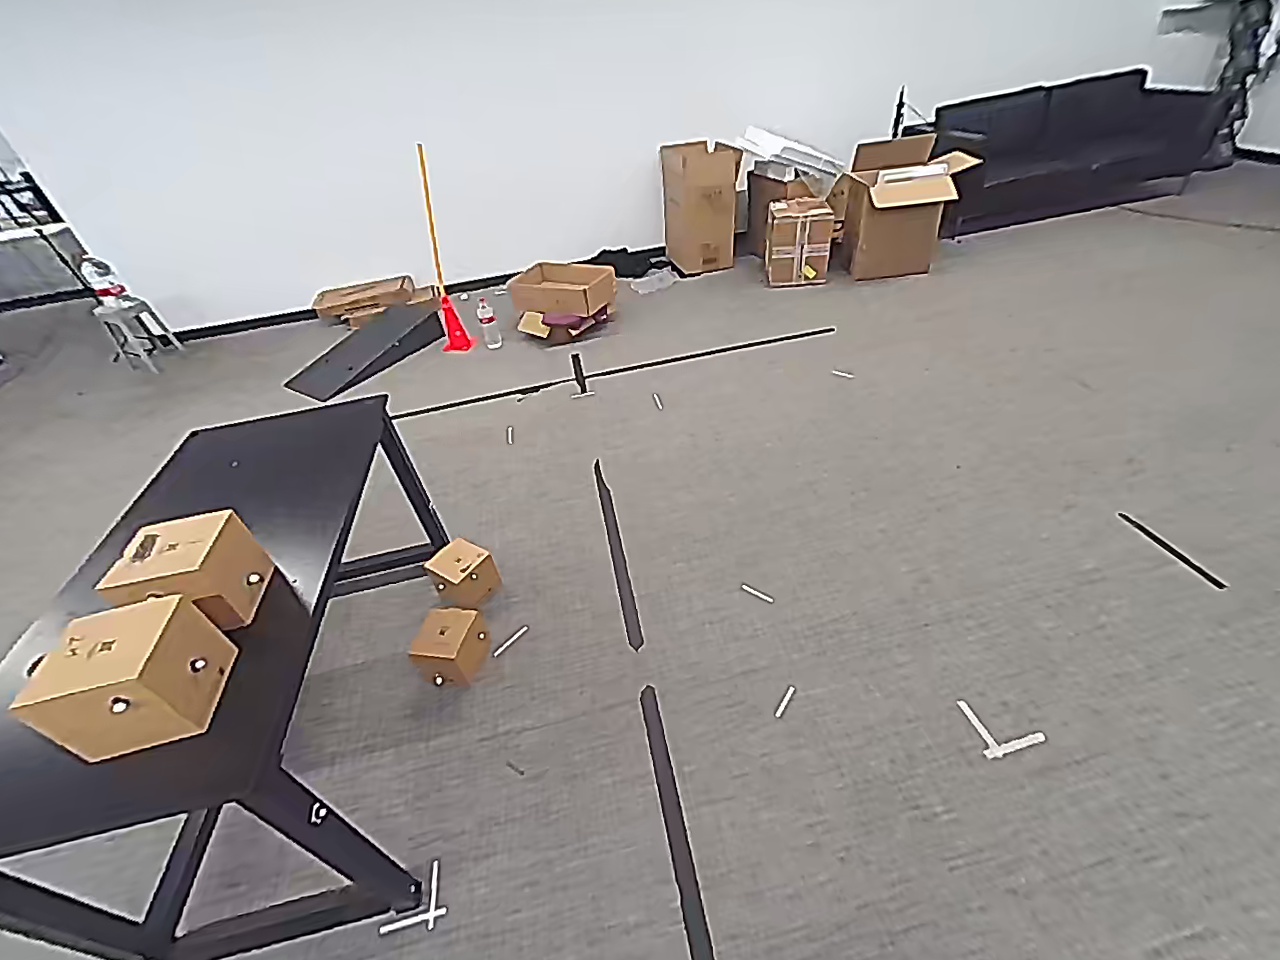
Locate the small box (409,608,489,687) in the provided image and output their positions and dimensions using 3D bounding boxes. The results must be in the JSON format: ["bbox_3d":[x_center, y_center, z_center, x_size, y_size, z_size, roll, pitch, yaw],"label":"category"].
[{"bbox_3d":[-0.607,0.540,1.748,0.168,0.176,0.179,1,41,12],"label":"small box"}]

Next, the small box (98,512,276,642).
[{"bbox_3d":[-0.867,0.193,1.059,0.179,0.176,0.168,-12,40,-5],"label":"small box"}]

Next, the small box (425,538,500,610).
[{"bbox_3d":[-0.645,0.348,1.980,0.179,0.176,0.168,18,46,28],"label":"small box"}]
